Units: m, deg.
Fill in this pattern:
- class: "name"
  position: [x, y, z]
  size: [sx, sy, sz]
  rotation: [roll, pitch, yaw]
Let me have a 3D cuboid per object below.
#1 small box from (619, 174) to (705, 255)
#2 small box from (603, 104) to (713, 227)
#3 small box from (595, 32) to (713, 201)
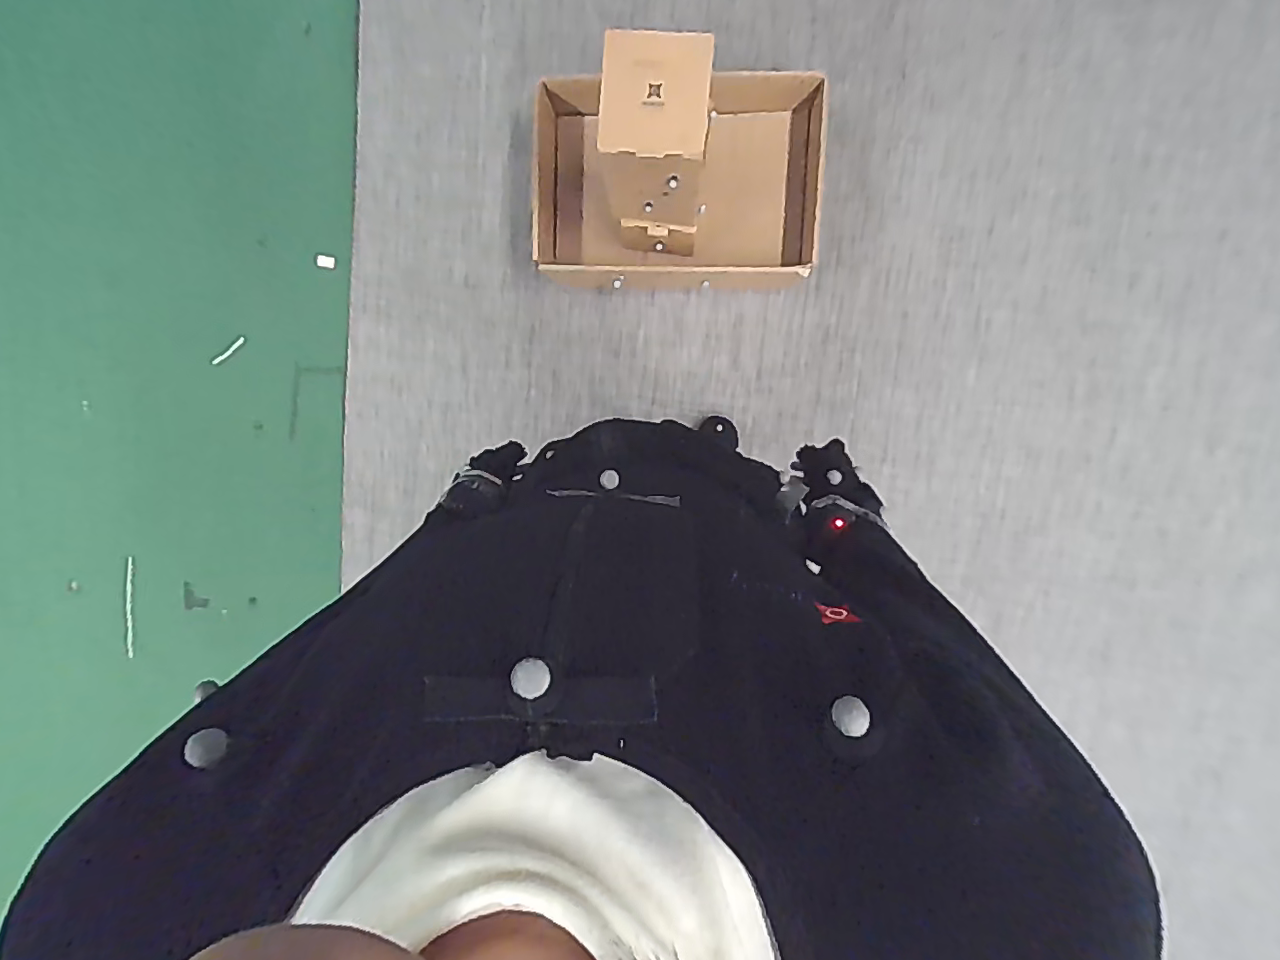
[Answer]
- class: "small box"
  position: [0.054, -0.622, 1.217]
  size: [0.168, 0.176, 0.179]
  rotation: [9, 98, 3]
- class: "small box"
  position: [0.038, -0.613, 1.053]
  size: [0.179, 0.176, 0.168]
  rotation: [11, 97, 4]
- class: "small box"
  position: [0.025, -0.585, 0.894]
  size: [0.168, 0.176, 0.179]
  rotation: [6, 95, 2]
